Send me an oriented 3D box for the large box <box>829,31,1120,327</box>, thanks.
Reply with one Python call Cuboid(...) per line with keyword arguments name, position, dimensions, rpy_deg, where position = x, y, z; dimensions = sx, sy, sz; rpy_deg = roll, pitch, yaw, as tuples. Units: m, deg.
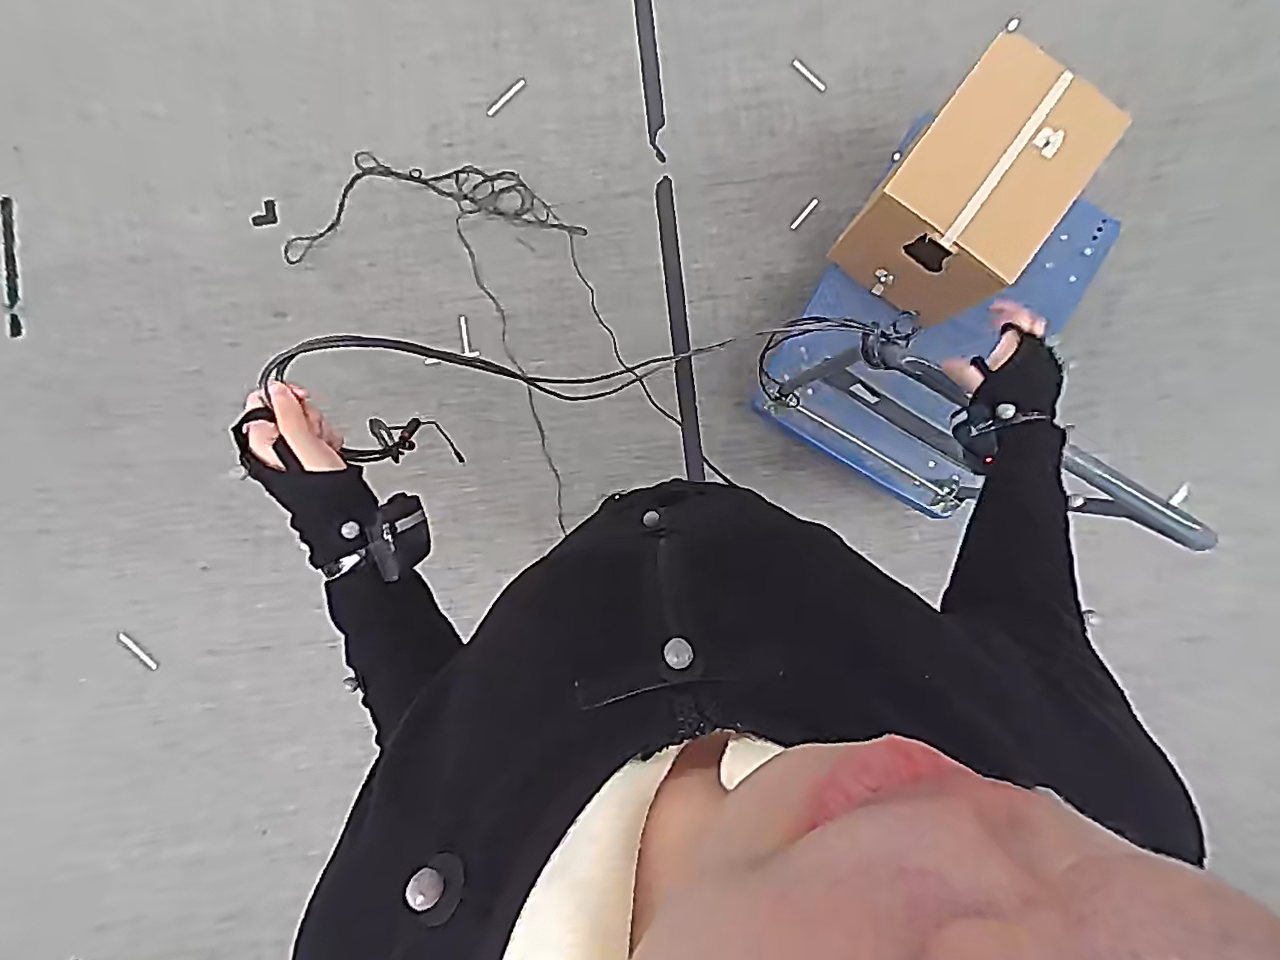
Cuboid(name="large box", position=(0.696, -0.622, 1.192), dimensions=(0.320, 0.320, 0.408), rpy_deg=(36, 89, -1))
